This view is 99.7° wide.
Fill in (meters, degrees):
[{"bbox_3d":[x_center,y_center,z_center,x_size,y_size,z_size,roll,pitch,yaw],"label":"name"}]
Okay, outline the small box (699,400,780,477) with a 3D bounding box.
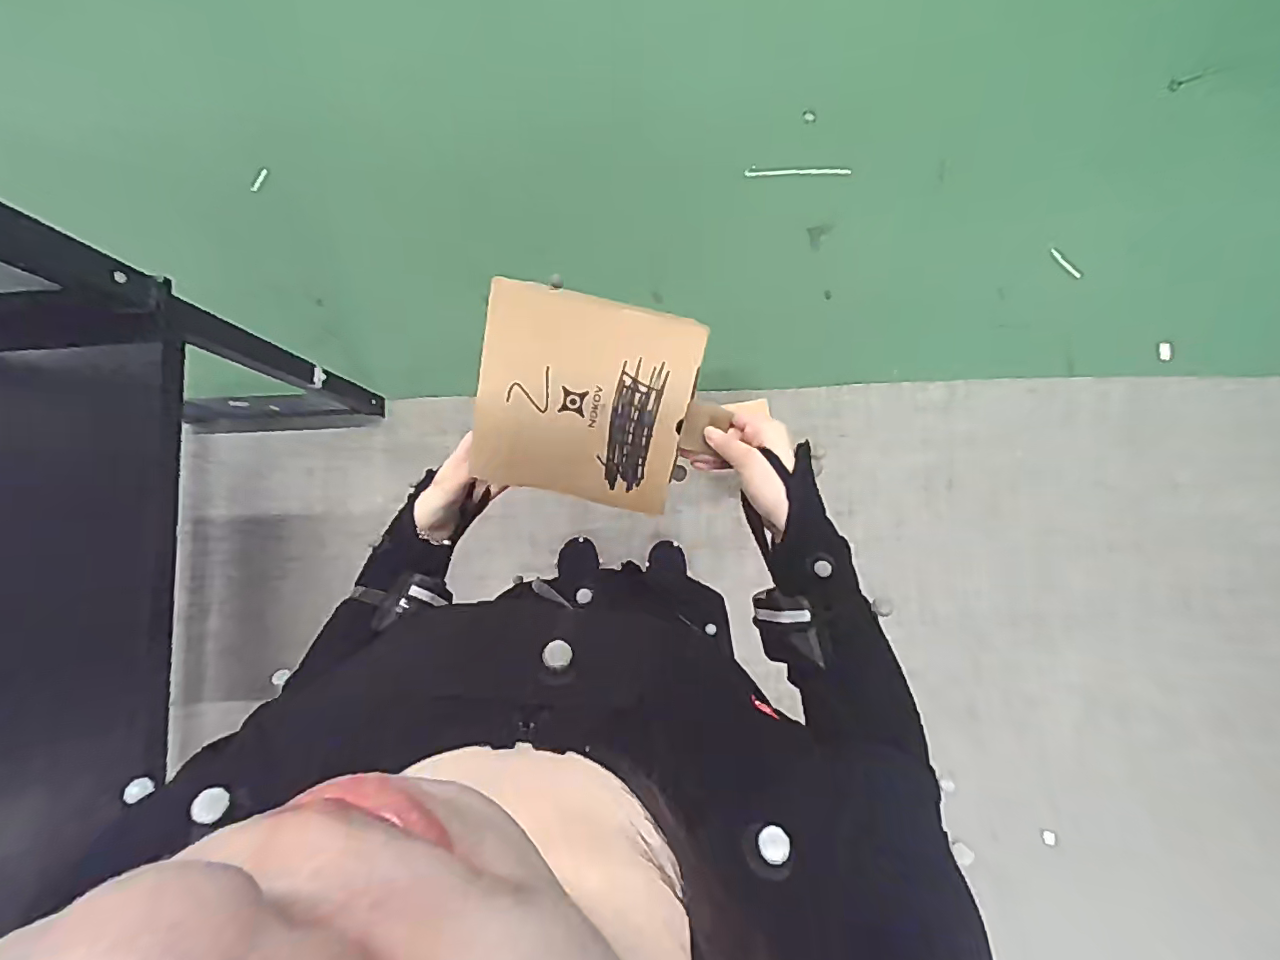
[{"bbox_3d":[0.256,-0.105,1.442,0.179,0.176,0.168,-9,86,-1],"label":"small box"}]
